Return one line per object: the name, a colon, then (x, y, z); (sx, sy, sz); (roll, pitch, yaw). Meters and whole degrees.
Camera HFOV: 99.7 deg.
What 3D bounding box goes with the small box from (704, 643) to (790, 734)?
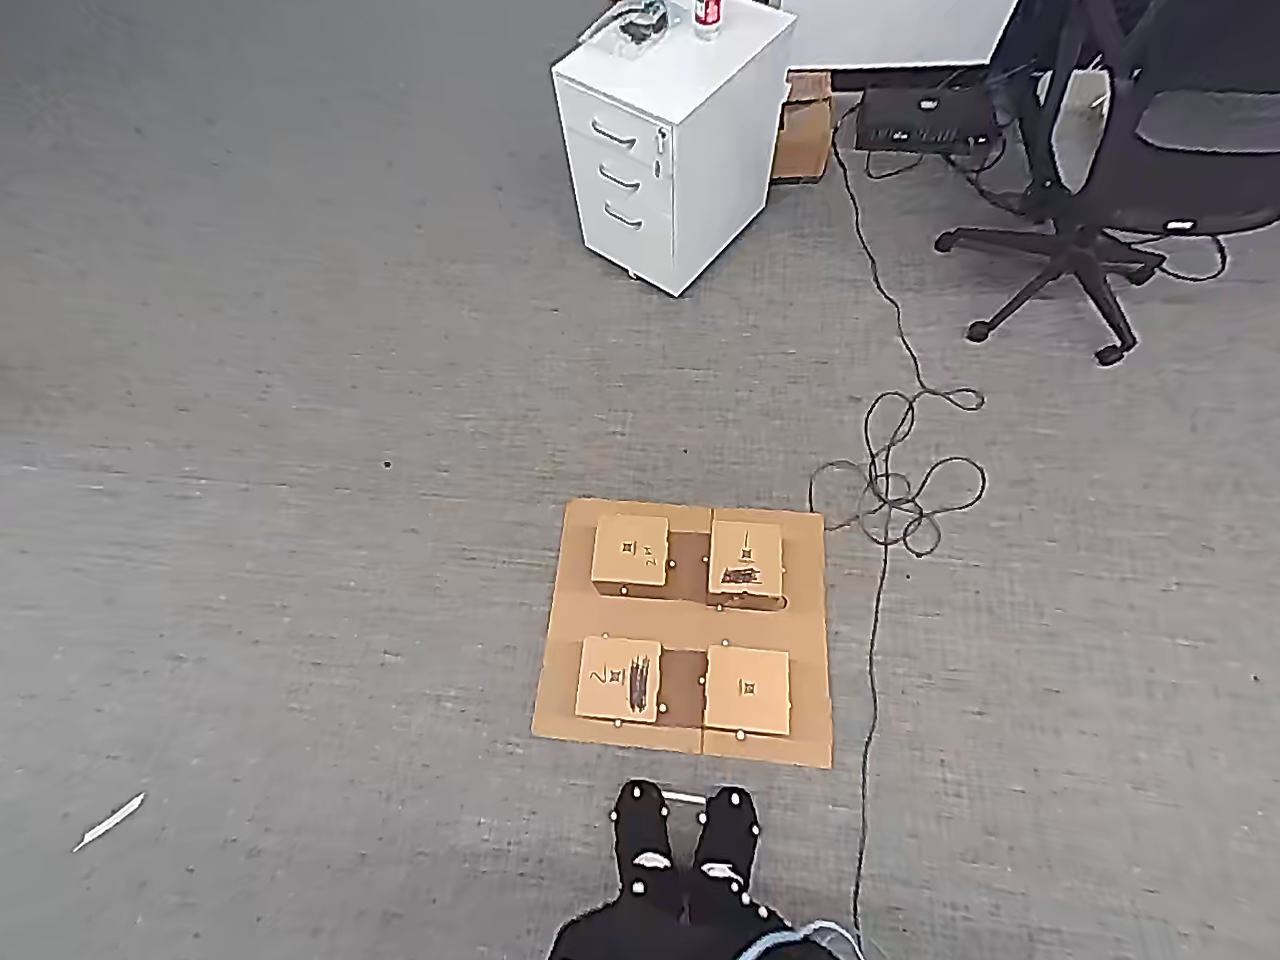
small box: (0.237, 0.470, 1.219); (0.179, 0.176, 0.168); (3, 67, 9)
